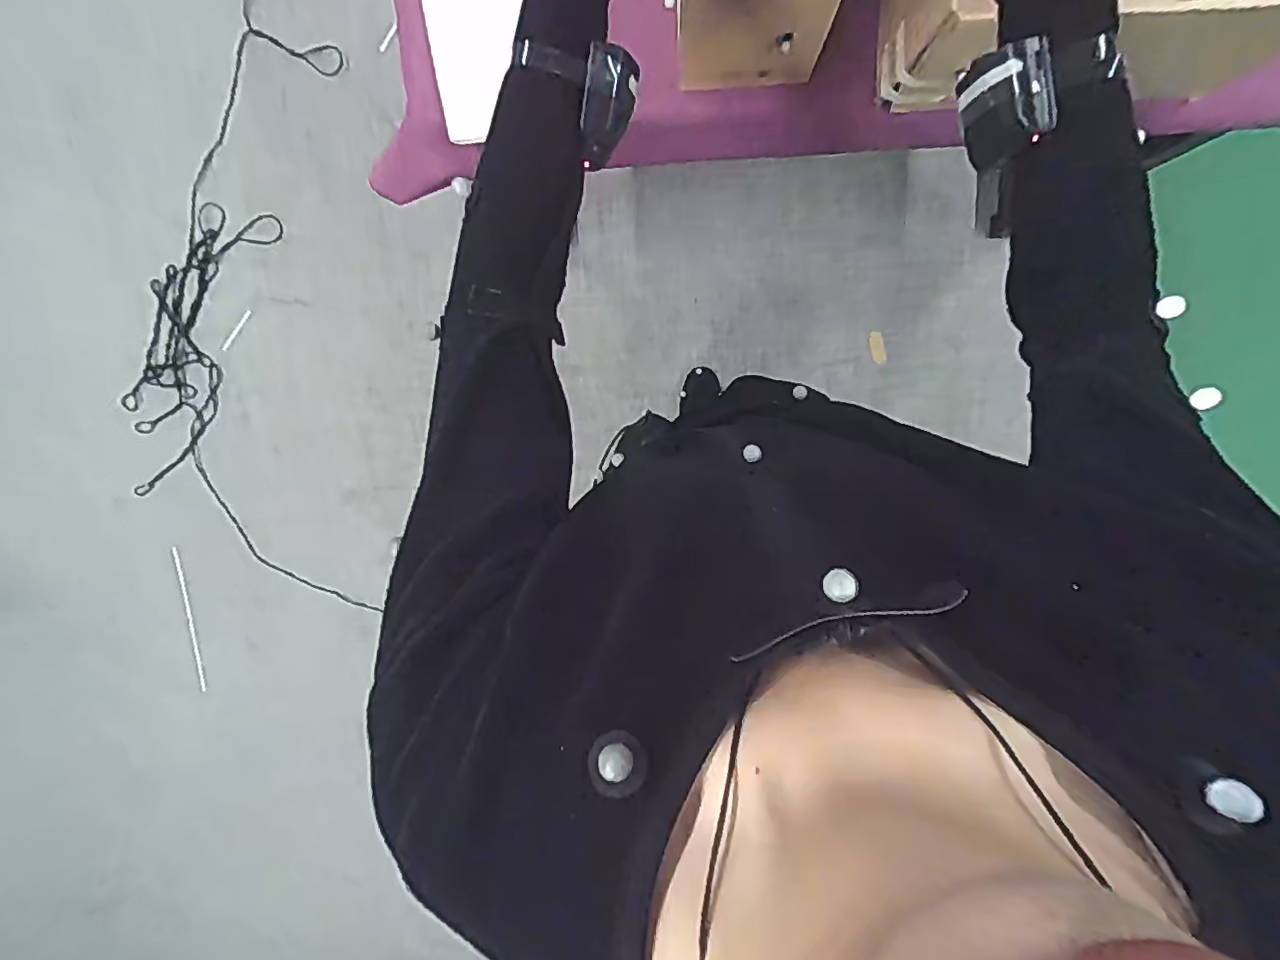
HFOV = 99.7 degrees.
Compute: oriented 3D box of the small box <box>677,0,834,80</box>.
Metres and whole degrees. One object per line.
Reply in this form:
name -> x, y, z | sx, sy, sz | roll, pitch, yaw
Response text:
small box -> 0.126, -0.578, 0.598 | 0.168, 0.176, 0.179 | 0, 97, 3
